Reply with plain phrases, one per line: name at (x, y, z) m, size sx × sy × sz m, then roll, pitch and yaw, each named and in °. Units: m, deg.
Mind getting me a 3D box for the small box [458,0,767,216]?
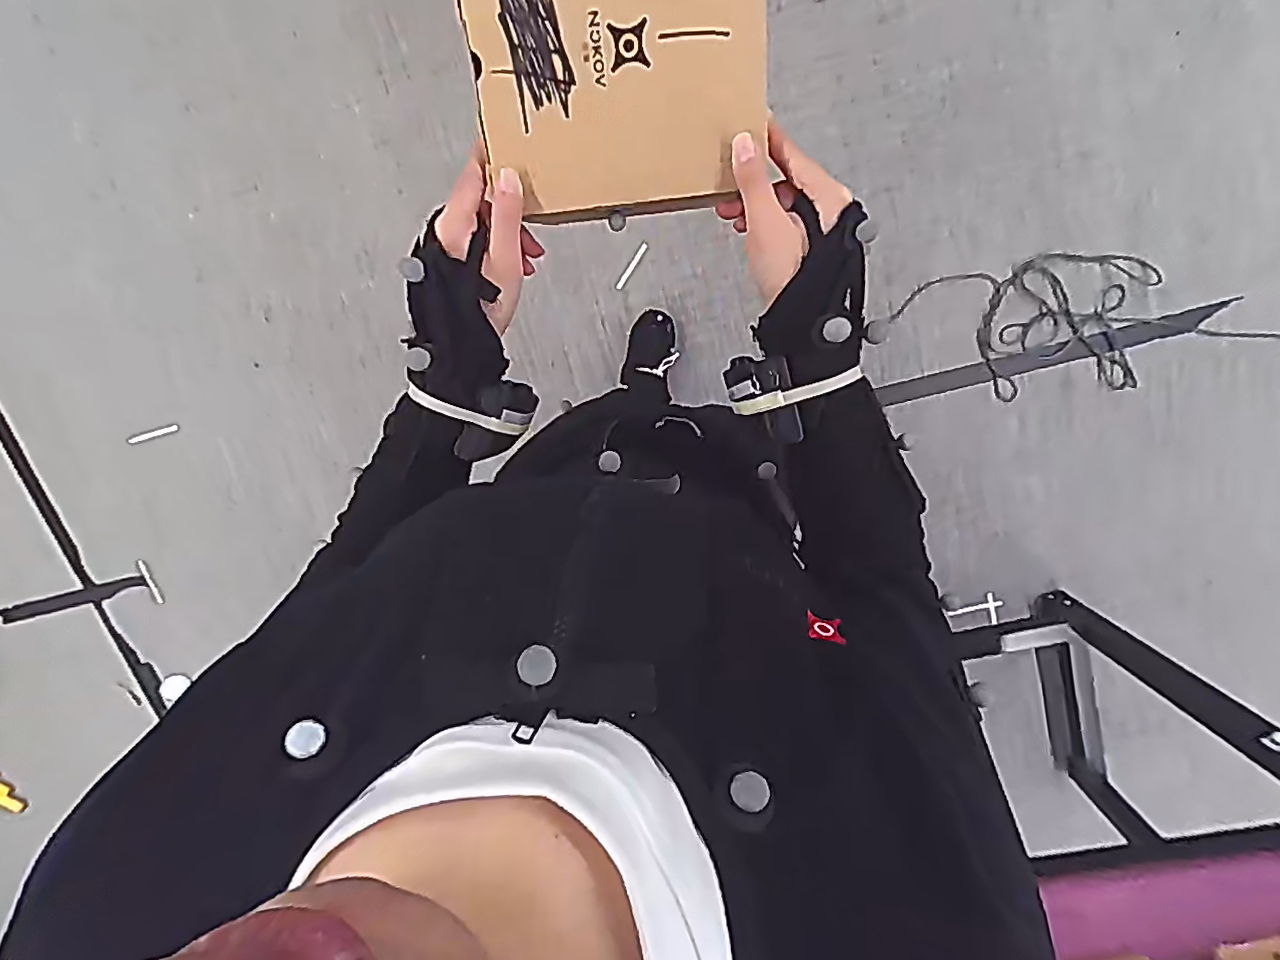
small box at (-0.011, -0.287, 0.381) m, size 0.179 × 0.176 × 0.168 m, roll -4°, pitch 114°, yaw 4°
